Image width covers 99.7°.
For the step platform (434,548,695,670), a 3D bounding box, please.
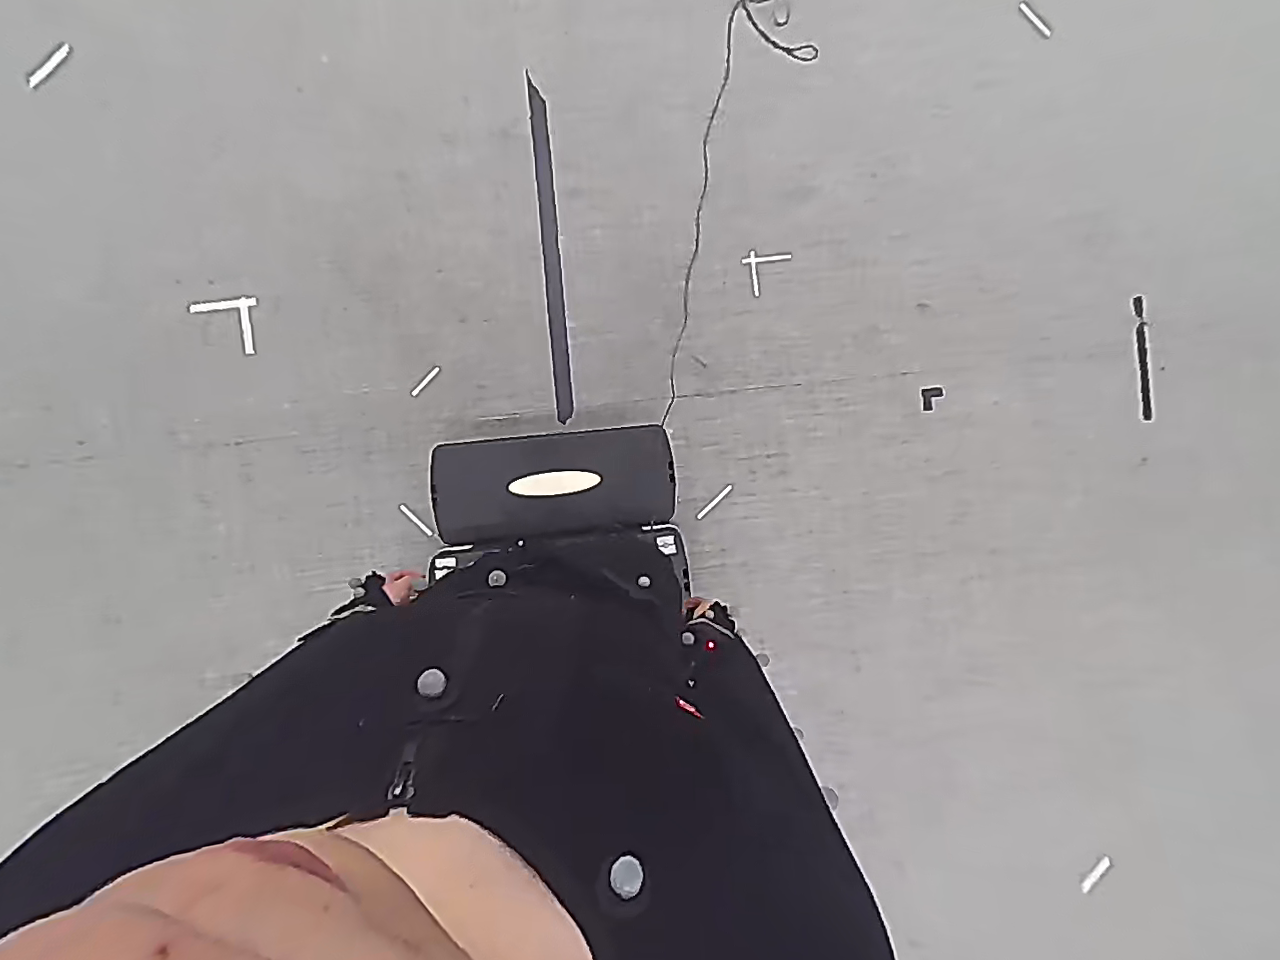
[{"bbox_3d":[-0.192,0.340,1.461,0.684,0.204,0.286,-1,87,-3],"label":"step platform"}]
